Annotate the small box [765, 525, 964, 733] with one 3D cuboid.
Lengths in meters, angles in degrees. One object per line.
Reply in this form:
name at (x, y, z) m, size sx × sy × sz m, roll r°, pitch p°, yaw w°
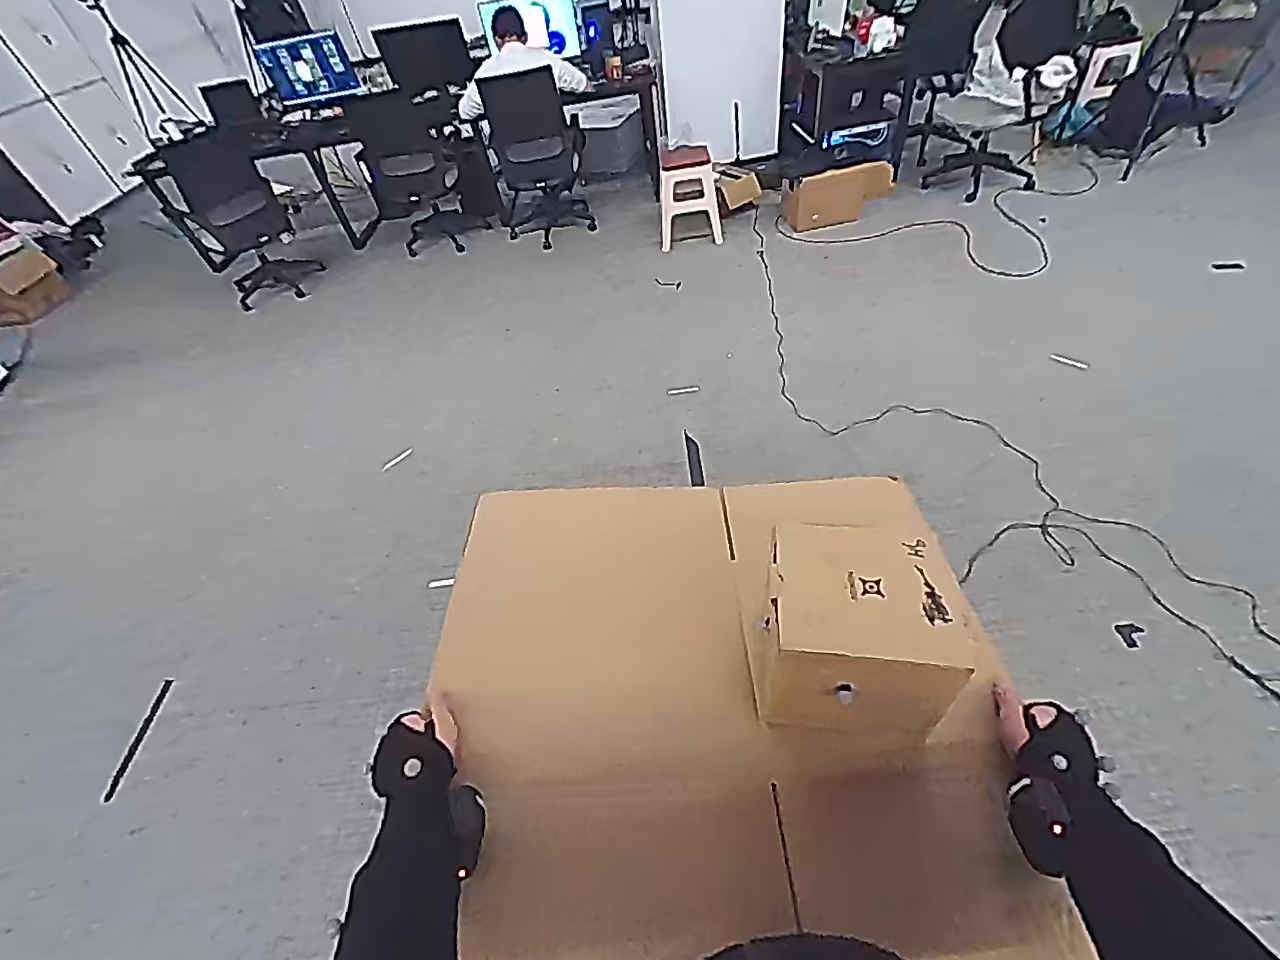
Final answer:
small box at (0.235, 0.170, 0.620) m, size 0.179 × 0.176 × 0.168 m, roll 2°, pitch 44°, yaw 11°
